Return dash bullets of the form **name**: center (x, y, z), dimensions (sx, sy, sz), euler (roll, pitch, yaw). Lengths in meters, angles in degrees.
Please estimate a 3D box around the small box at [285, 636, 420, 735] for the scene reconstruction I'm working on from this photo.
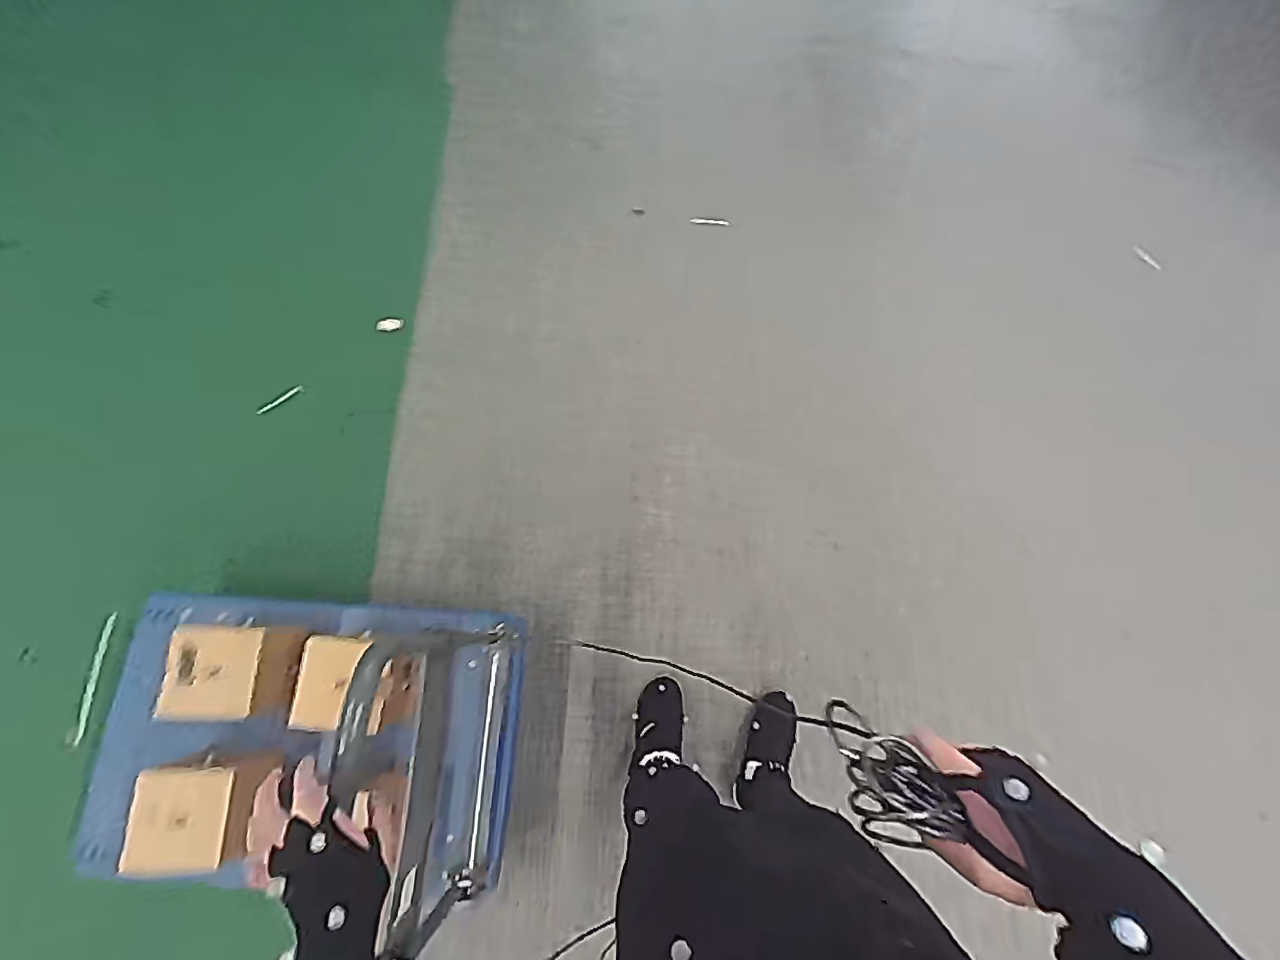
- **small box**: center (-0.583, 0.417, 1.122), dimensions (0.179, 0.176, 0.168), euler (6, 76, -2)

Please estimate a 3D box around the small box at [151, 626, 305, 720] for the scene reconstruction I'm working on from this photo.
- **small box**: center (-0.837, 0.391, 1.117), dimensions (0.179, 0.176, 0.168), euler (3, 77, -3)

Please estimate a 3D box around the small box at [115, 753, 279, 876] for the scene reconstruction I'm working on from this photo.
- **small box**: center (-0.847, 0.641, 1.056), dimensions (0.179, 0.176, 0.168), euler (1, 76, -2)
